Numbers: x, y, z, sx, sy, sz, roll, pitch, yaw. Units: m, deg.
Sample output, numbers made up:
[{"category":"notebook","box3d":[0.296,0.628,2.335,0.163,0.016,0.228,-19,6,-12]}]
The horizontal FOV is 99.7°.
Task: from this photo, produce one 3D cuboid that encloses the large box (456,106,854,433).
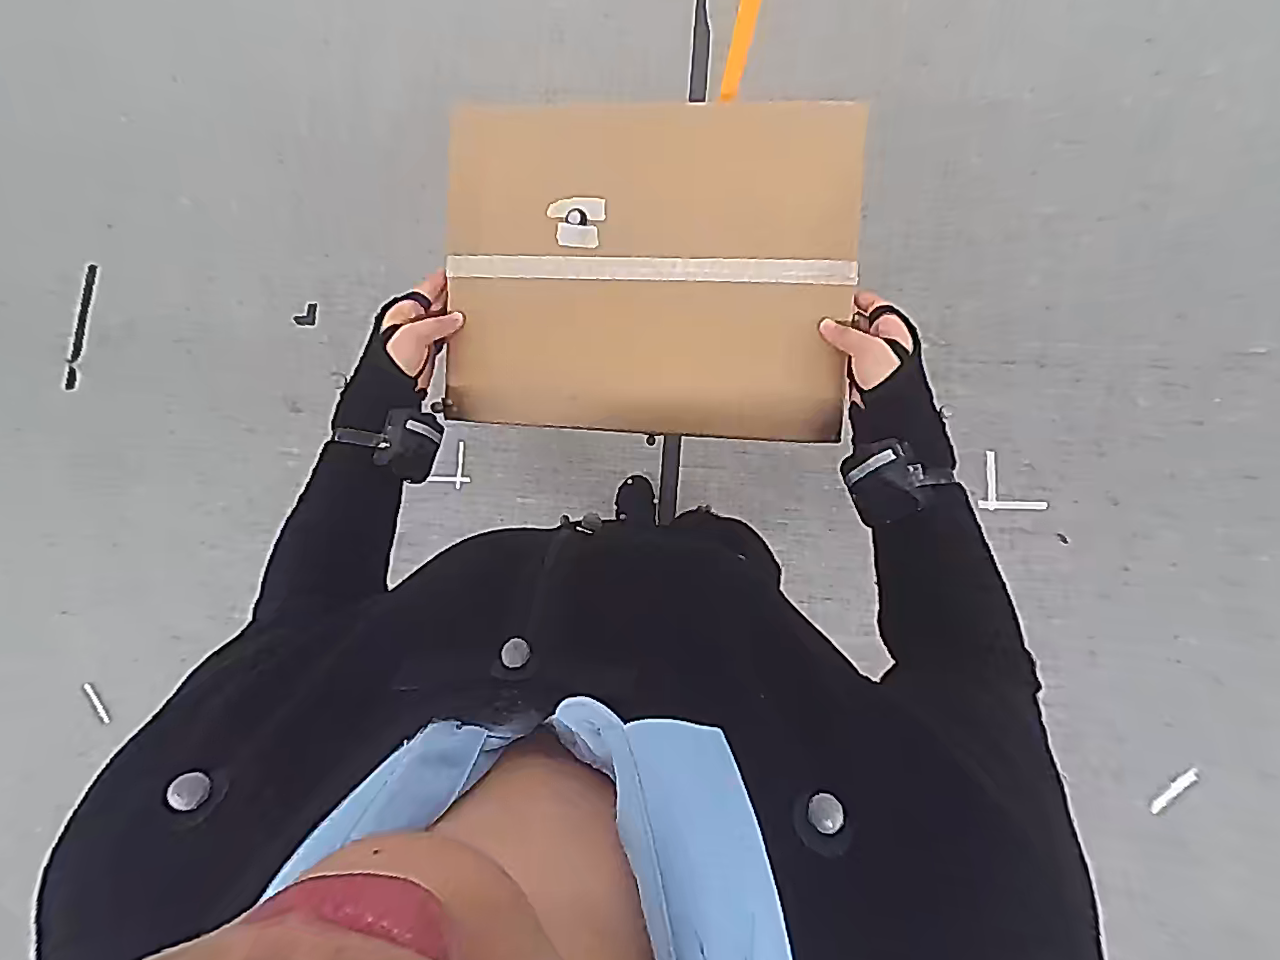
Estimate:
[{"category":"large box","box3d":[0.024,-0.221,0.693,0.408,0.320,0.320,3,94,7]}]
